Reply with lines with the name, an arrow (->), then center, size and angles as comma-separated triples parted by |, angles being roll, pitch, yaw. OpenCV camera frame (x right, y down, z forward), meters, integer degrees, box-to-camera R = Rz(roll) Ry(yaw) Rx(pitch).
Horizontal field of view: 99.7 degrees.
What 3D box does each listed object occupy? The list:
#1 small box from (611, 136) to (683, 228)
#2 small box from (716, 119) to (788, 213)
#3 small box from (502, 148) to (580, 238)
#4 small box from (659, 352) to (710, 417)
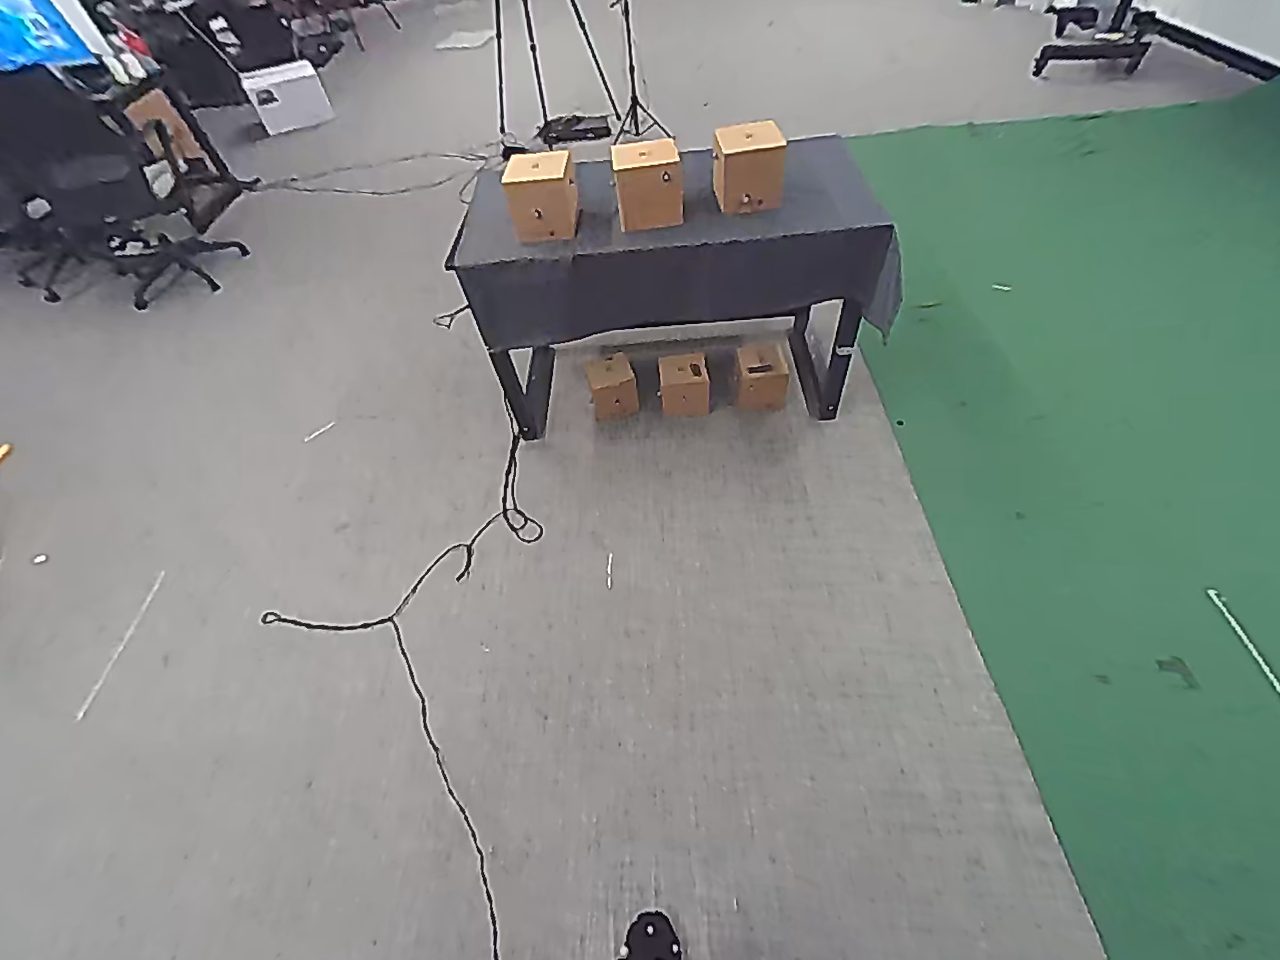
small box -> 0.022, -0.813, 1.485 | 0.179, 0.176, 0.168 | -7, 51, 1
small box -> 0.300, -0.863, 1.490 | 0.168, 0.176, 0.179 | -6, 52, 3
small box -> -0.266, -0.788, 1.496 | 0.168, 0.176, 0.179 | -2, 52, 5
small box -> 0.168, -0.358, 2.036 | 0.179, 0.176, 0.168 | -6, 51, 4
